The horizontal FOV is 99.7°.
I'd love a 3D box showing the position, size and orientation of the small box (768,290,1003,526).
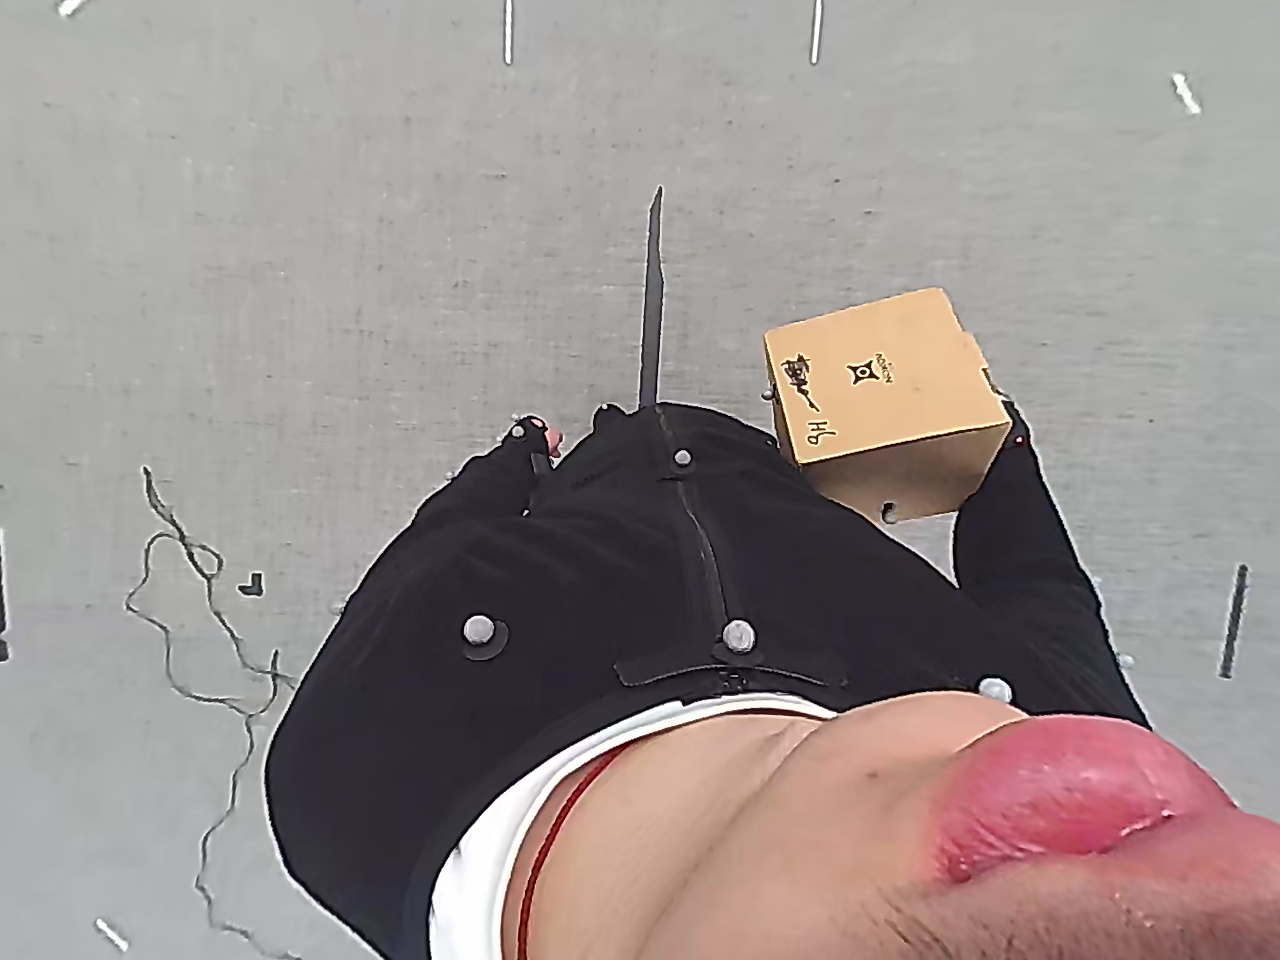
[{"bbox_3d":[0.243,-0.066,0.581,0.179,0.176,0.168,-11,58,12],"label":"small box"}]
